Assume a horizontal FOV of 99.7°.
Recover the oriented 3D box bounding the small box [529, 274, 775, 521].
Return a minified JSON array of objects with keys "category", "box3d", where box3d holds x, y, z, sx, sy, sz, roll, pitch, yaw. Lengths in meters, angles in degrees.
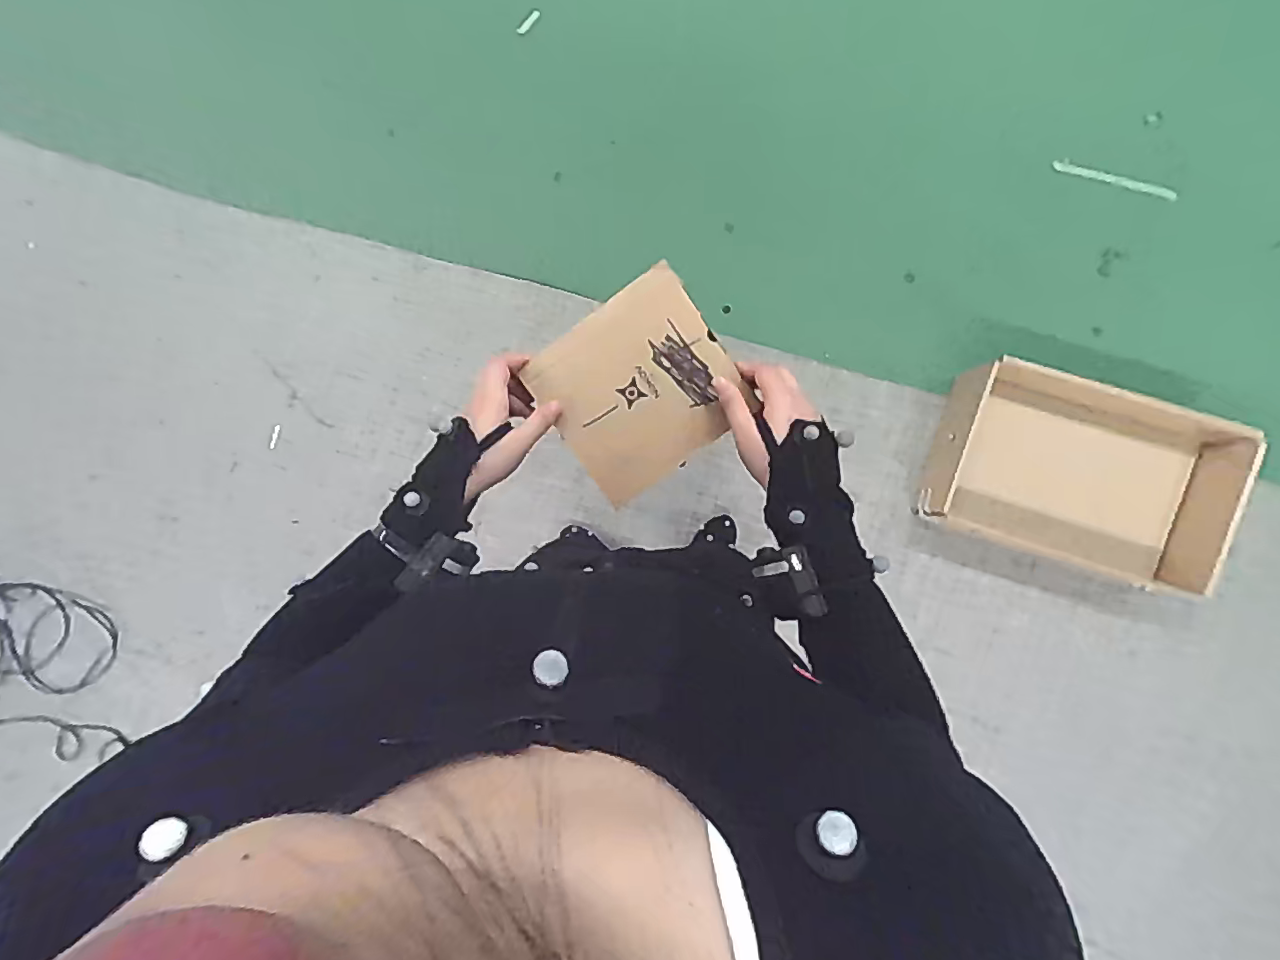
[{"category":"small box","box3d":[0.010,-0.086,0.577,0.179,0.176,0.168,-35,99,5]}]
